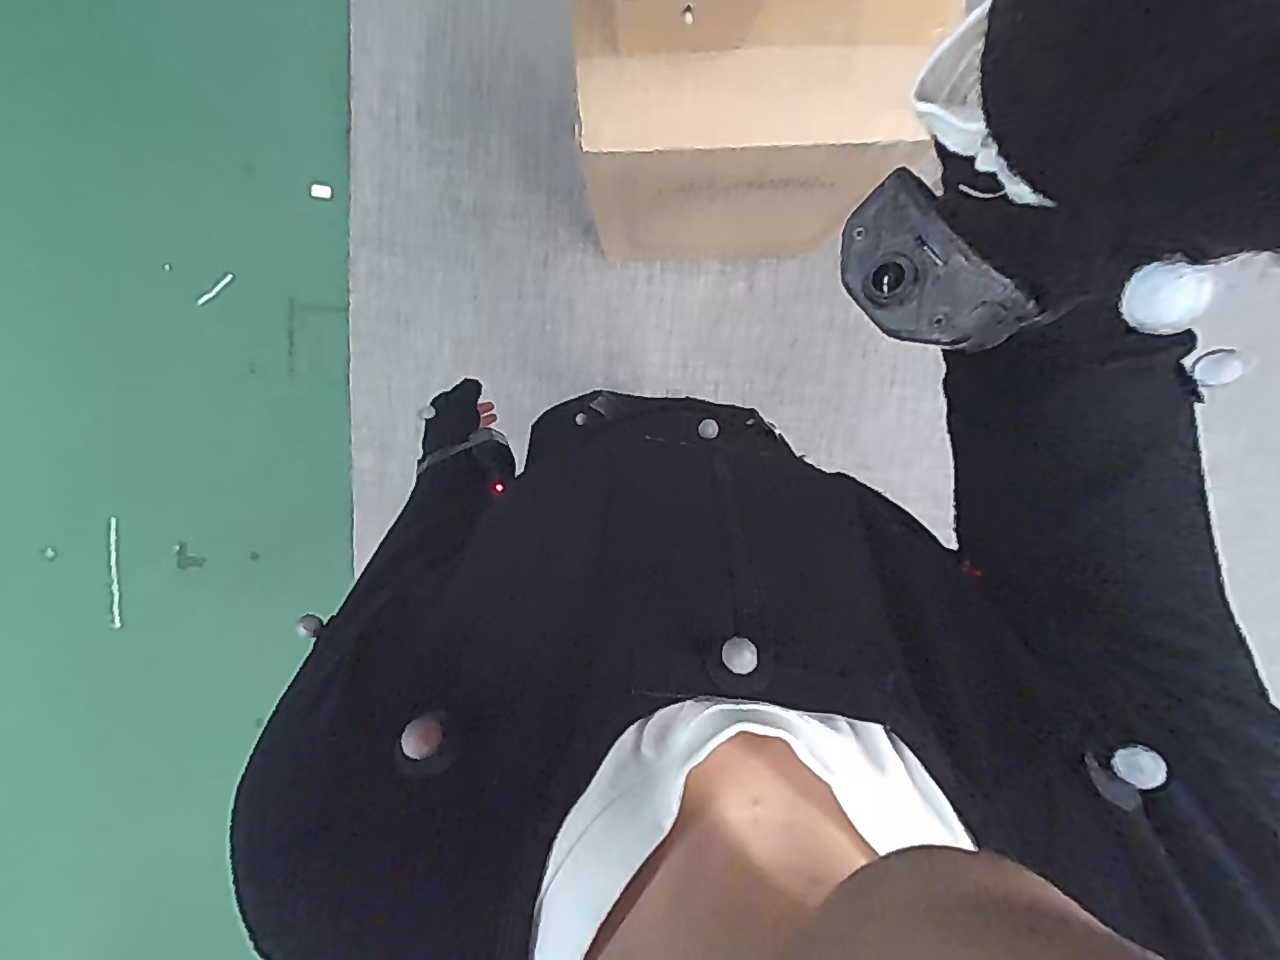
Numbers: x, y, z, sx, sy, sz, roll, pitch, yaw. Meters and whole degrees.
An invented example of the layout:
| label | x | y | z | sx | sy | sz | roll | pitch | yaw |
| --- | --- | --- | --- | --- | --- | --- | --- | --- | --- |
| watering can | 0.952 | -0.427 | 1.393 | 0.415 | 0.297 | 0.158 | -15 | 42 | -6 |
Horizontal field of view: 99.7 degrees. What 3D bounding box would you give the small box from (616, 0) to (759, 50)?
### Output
| label | x | y | z | sx | sy | sz | roll | pitch | yaw |
| --- | --- | --- | --- | --- | --- | --- | --- | --- | --- |
| small box | 0.054 | -0.635 | 0.633 | 0.179 | 0.176 | 0.168 | -4 | 111 | 0 |
